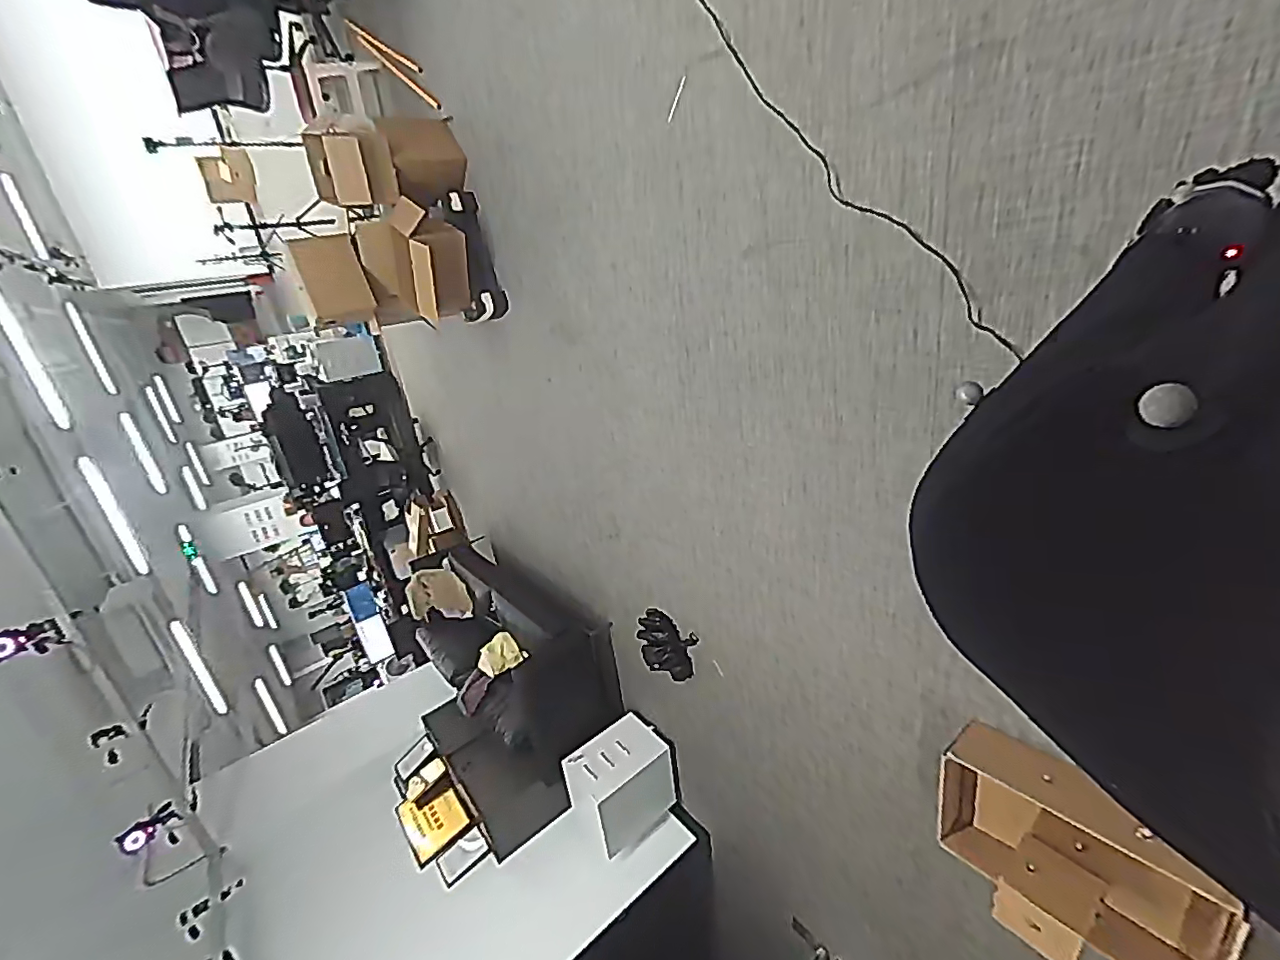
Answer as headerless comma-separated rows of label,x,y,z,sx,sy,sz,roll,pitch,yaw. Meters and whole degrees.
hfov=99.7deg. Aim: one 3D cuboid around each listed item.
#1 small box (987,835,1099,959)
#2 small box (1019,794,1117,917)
small box,1.008,1.039,1.355,0.179,0.176,0.168,16,123,50
small box,1.152,1.002,1.461,0.179,0.176,0.168,15,123,50
